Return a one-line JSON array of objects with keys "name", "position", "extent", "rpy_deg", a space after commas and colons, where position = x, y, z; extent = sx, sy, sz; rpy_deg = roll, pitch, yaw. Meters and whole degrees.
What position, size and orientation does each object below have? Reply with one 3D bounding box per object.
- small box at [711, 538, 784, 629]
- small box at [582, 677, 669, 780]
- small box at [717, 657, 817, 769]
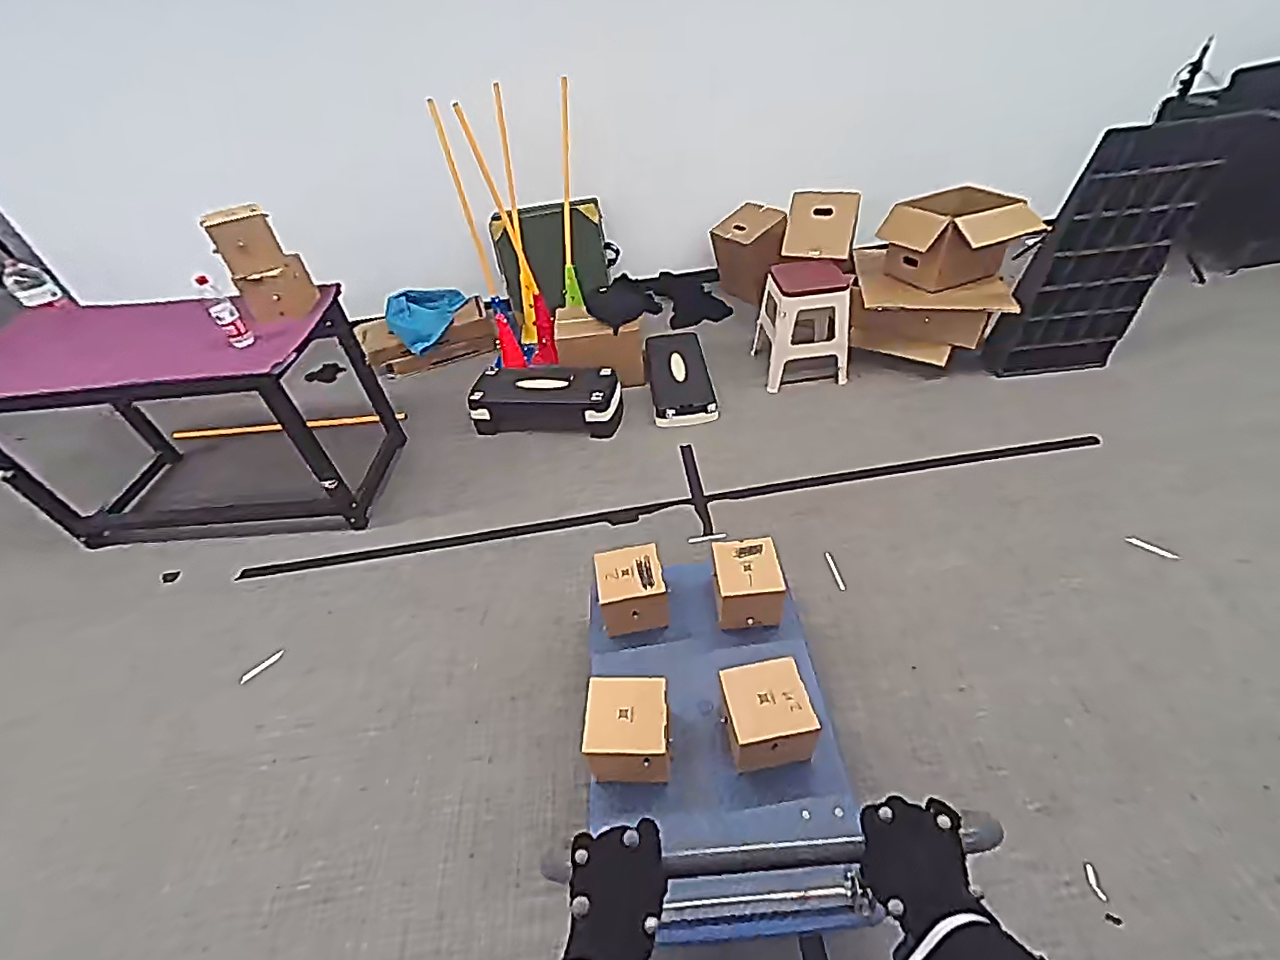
[{"name": "small box", "position": [0.287, 0.285, 1.482], "extent": [0.168, 0.176, 0.179], "rpy_deg": [-6, 45, 2]}, {"name": "small box", "position": [-0.025, 0.566, 1.229], "extent": [0.179, 0.176, 0.168], "rpy_deg": [-1, 43, 4]}, {"name": "small box", "position": [0.280, 0.531, 1.225], "extent": [0.179, 0.176, 0.168], "rpy_deg": [-10, 44, -3]}]
